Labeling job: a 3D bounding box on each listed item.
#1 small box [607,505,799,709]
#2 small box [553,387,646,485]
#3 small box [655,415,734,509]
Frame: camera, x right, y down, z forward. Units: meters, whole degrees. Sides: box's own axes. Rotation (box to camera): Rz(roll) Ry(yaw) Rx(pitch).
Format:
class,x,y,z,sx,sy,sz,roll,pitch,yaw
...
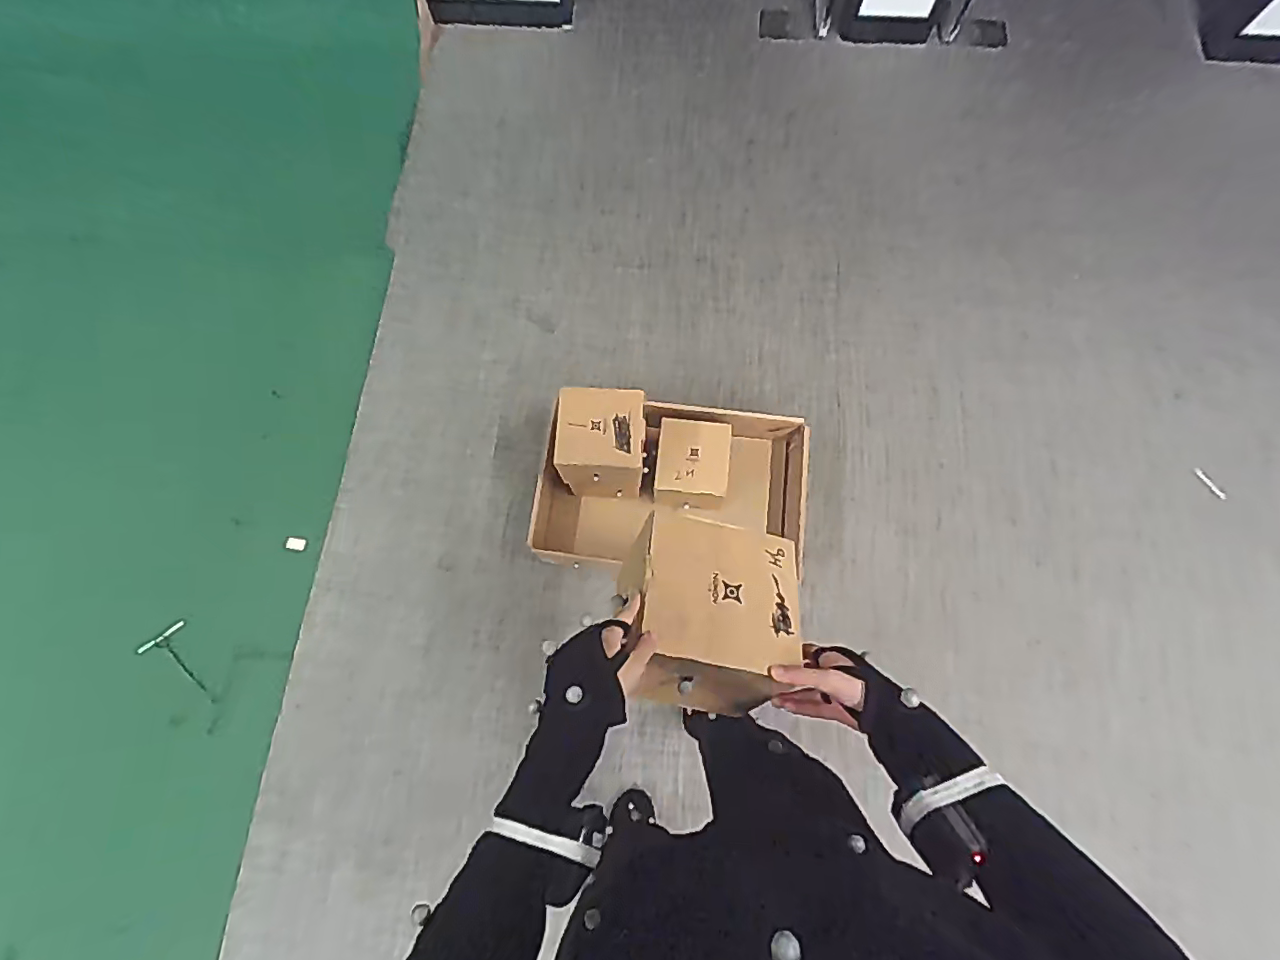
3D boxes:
class,x,y,z,sx,sy,sz,roll,pitch,yaw
small box,0.065,0.155,0.633,0.179,0.176,0.168,13,54,-6
small box,-0.078,-0.088,1.155,0.179,0.176,0.168,2,76,3
small box,0.127,-0.038,1.306,0.168,0.176,0.179,6,76,5
